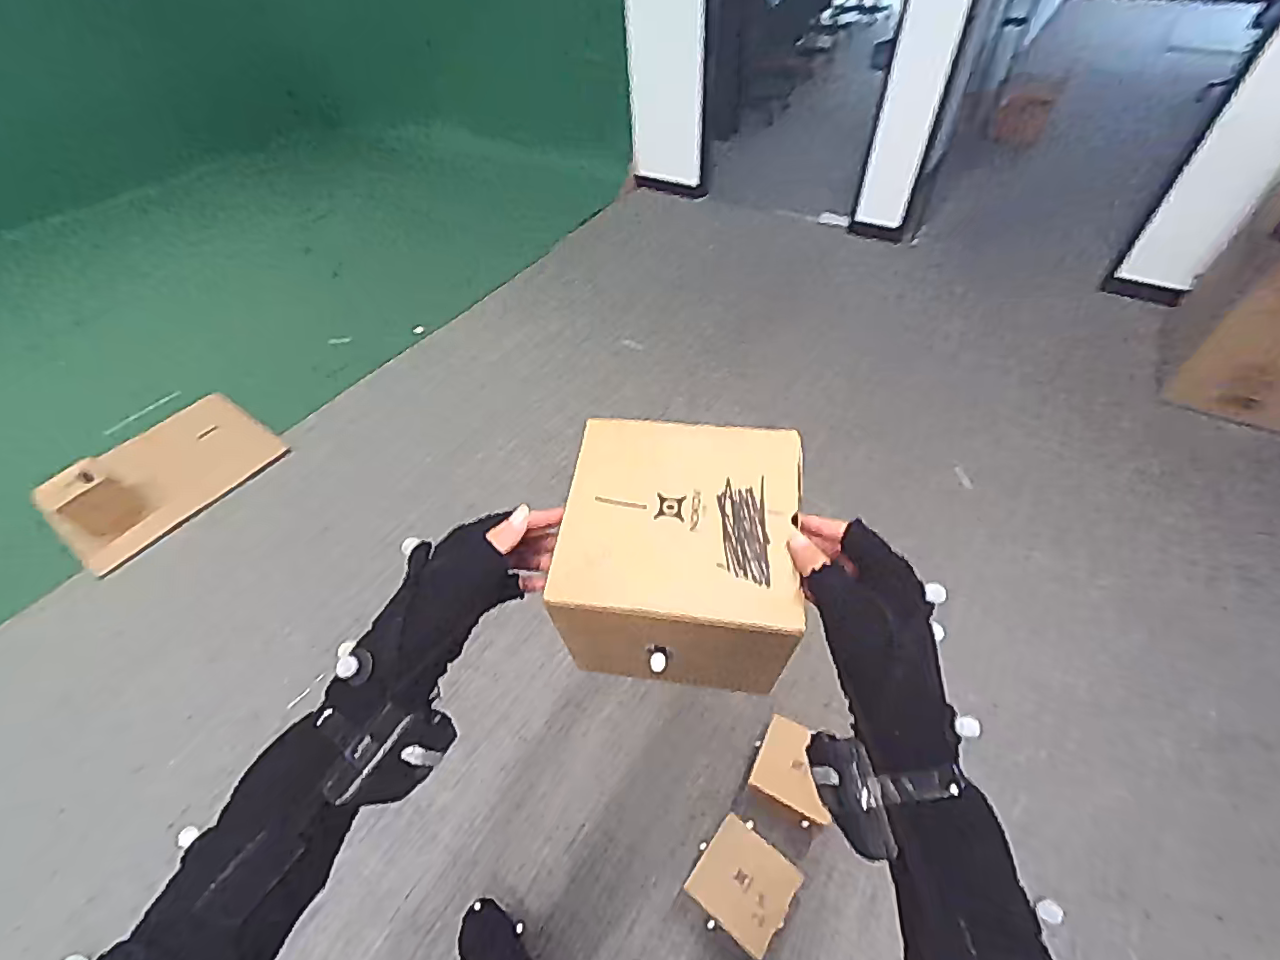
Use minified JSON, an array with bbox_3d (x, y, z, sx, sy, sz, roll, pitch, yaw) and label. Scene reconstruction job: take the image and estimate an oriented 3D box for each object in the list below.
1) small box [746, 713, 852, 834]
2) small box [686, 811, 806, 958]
[{"bbox_3d":[0.353,0.669,1.226,0.179,0.176,0.168,22,54,20],"label":"small box"},{"bbox_3d":[0.208,0.824,1.102,0.179,0.176,0.168,31,59,27],"label":"small box"}]
